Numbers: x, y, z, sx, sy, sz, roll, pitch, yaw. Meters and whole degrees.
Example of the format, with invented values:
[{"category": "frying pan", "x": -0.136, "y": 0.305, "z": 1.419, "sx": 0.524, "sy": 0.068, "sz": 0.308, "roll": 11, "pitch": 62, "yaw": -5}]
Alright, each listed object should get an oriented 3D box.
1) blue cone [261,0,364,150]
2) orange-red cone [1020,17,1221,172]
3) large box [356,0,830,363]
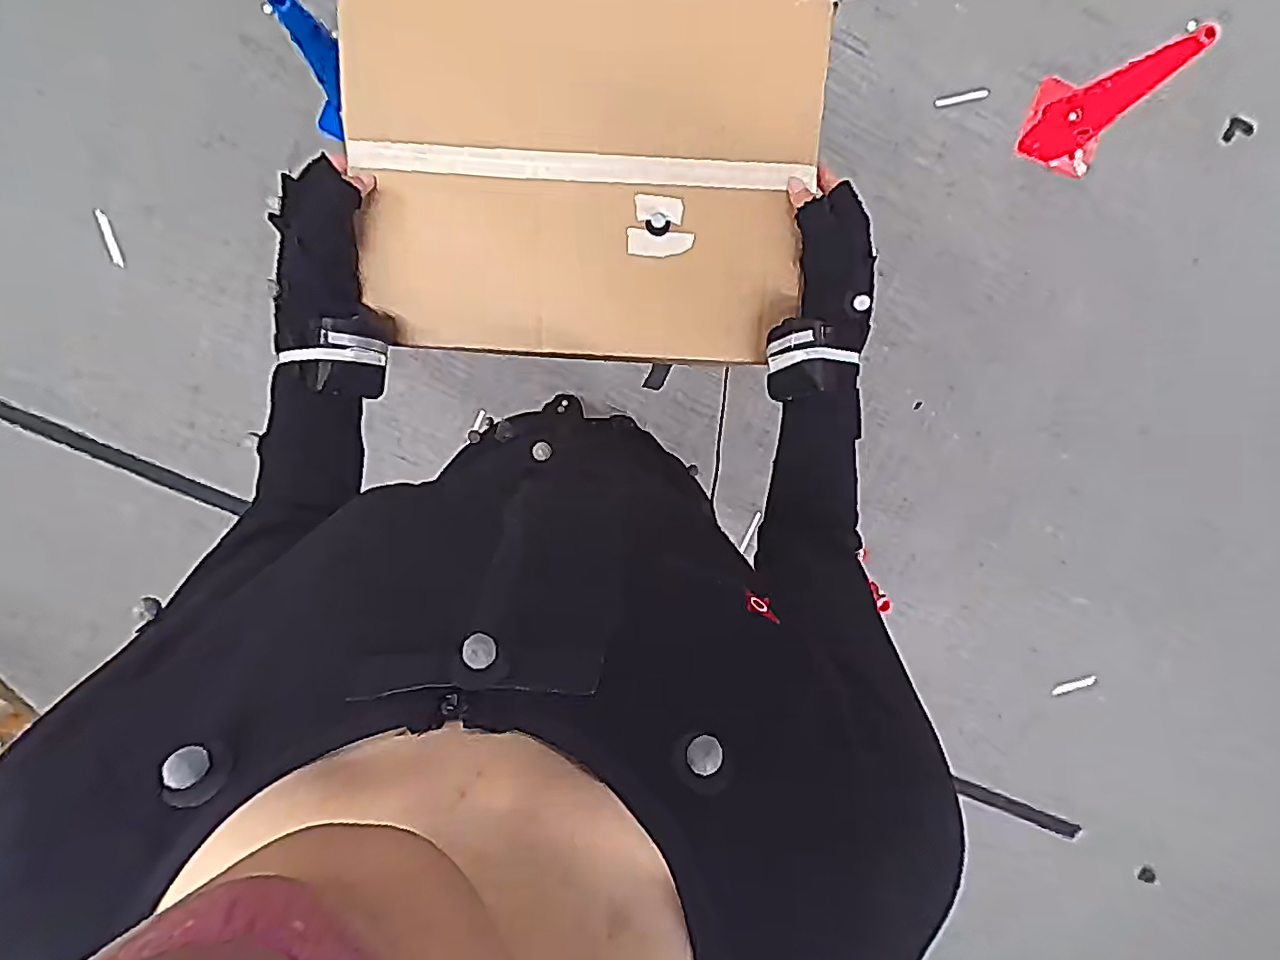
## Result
[{"category": "blue cone", "x": -0.679, "y": -0.906, "z": 1.183, "sx": 0.192, "sy": 0.380, "sz": 0.193, "roll": 27, "pitch": 95, "yaw": -4}, {"category": "orange-red cone", "x": 1.109, "y": -0.907, "z": 1.232, "sx": 0.198, "sy": 0.360, "sz": 0.199, "roll": 21, "pitch": 94, "yaw": -5}, {"category": "large box", "x": -0.049, "y": -0.303, "z": 0.622, "sx": 0.408, "sy": 0.320, "sz": 0.320, "roll": 3, "pitch": 102, "yaw": -2}]
